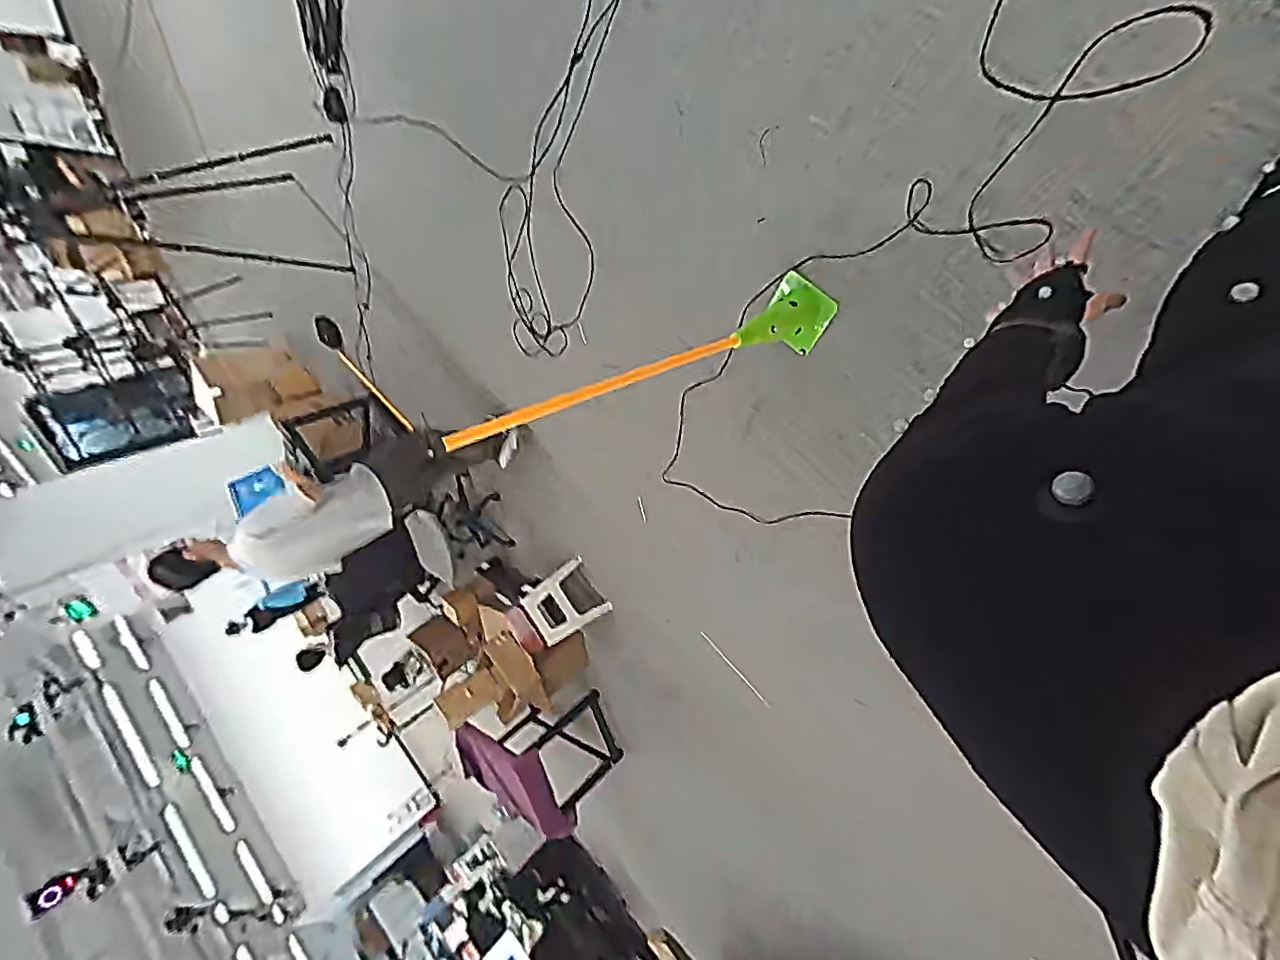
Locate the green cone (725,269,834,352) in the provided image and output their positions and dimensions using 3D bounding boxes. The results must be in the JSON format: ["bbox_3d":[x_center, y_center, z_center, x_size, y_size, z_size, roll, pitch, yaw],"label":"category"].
[{"bbox_3d":[0.378,-0.469,1.604,0.202,0.368,0.200,46,139,18],"label":"green cone"}]
